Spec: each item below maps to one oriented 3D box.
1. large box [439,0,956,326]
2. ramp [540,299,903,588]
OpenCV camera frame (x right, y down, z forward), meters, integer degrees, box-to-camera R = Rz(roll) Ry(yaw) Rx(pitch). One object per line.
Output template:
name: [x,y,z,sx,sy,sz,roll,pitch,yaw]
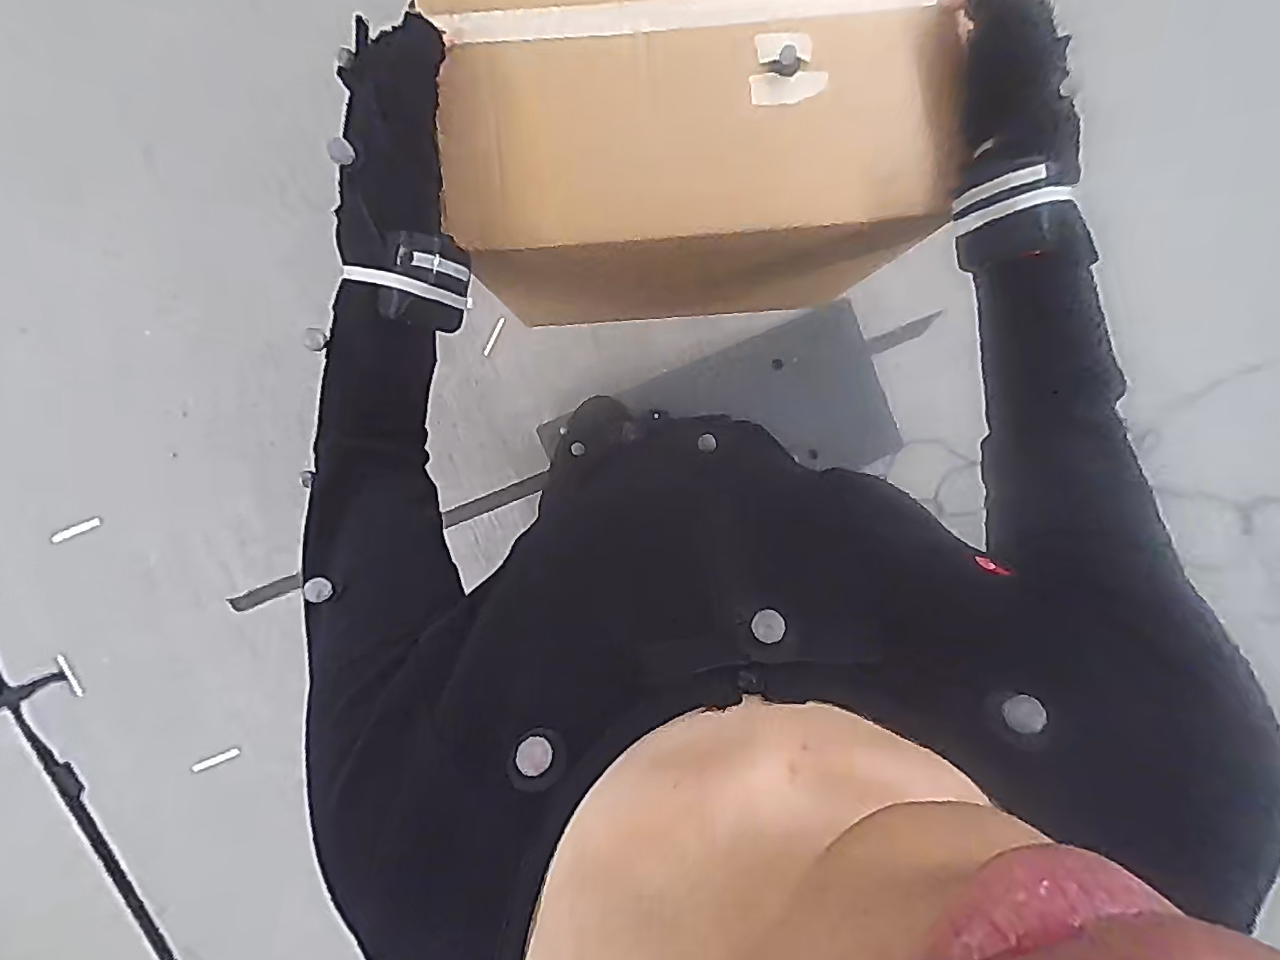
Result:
large box: [0.041,-0.364,0.570,0.408,0.320,0.320,-4,95,-1]
ramp: [0.267,-0.124,1.557,0.991,0.206,0.509,-26,94,0]
